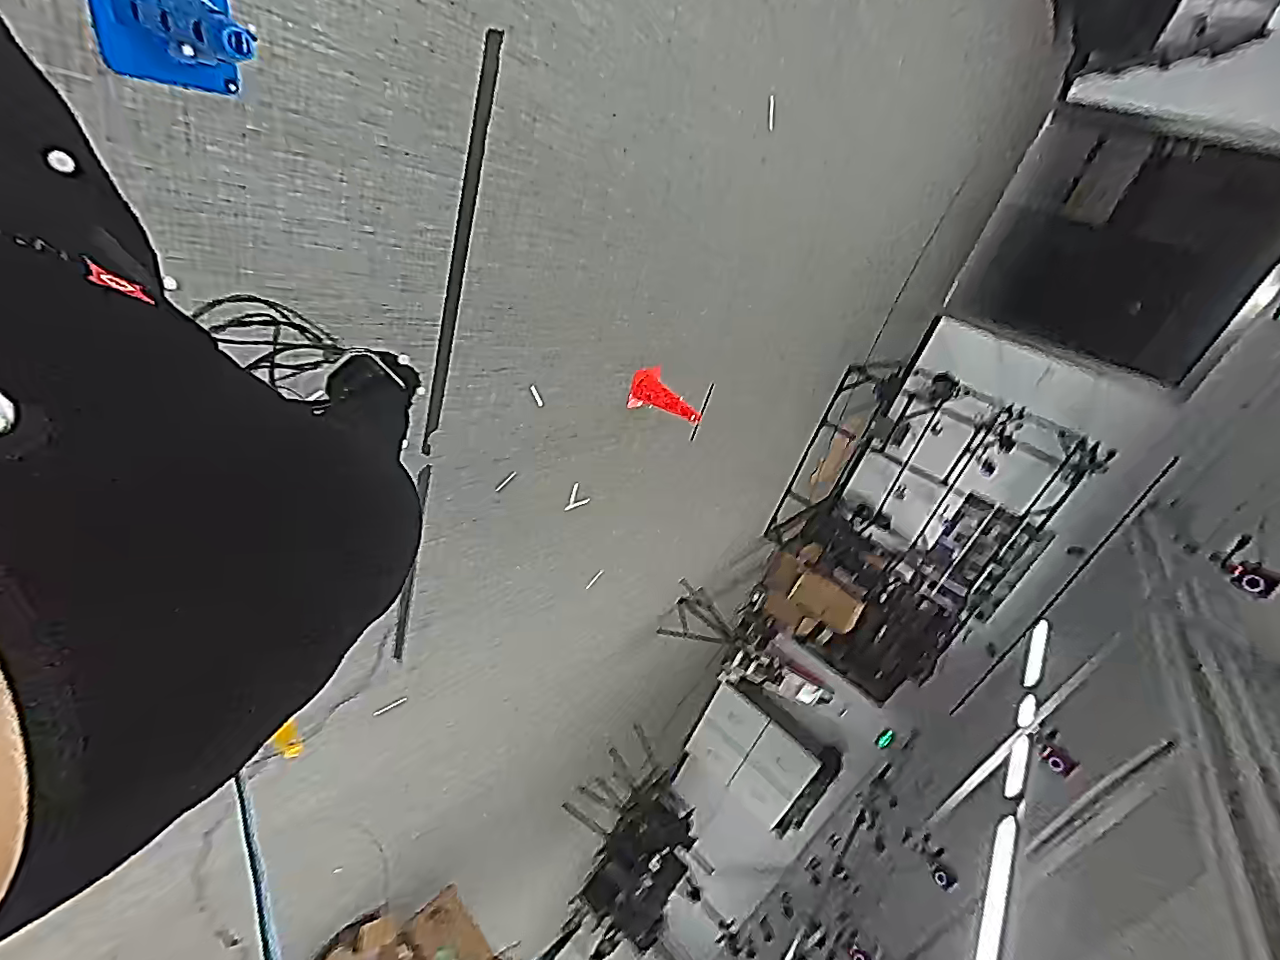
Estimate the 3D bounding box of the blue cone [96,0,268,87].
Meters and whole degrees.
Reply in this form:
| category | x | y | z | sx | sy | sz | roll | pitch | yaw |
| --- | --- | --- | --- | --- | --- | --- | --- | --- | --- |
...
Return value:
| category | x | y | z | sx | sy | sz | roll | pitch | yaw |
| --- | --- | --- | --- | --- | --- | --- | --- | --- | --- |
| blue cone | -0.704 | -0.730 | 0.865 | 0.192 | 0.380 | 0.193 | -23 | 138 | -46 |

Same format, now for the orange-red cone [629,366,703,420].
| category | x | y | z | sx | sy | sz | roll | pitch | yaw |
| --- | --- | --- | --- | --- | --- | --- | --- | --- | --- |
| orange-red cone | 0.151 | -0.380 | 2.591 | 0.198 | 0.360 | 0.199 | -22 | 137 | -47 |
